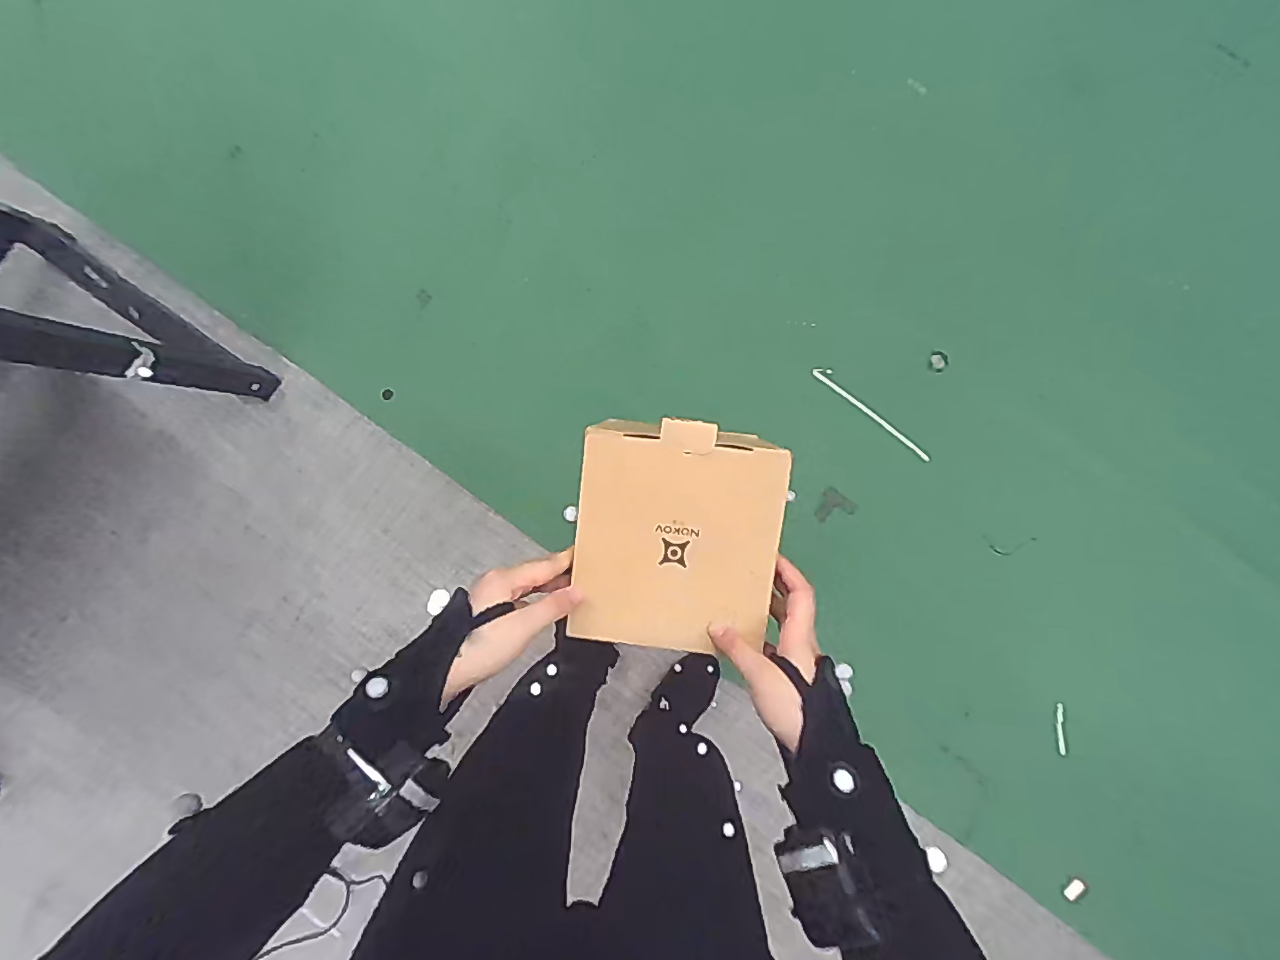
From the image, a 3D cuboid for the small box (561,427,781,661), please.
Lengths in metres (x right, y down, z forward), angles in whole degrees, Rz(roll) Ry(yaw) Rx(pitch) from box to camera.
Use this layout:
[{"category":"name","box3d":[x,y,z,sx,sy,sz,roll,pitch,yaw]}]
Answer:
[{"category":"small box","box3d":[0.027,0.047,0.520,0.168,0.176,0.179,6,98,1]}]
